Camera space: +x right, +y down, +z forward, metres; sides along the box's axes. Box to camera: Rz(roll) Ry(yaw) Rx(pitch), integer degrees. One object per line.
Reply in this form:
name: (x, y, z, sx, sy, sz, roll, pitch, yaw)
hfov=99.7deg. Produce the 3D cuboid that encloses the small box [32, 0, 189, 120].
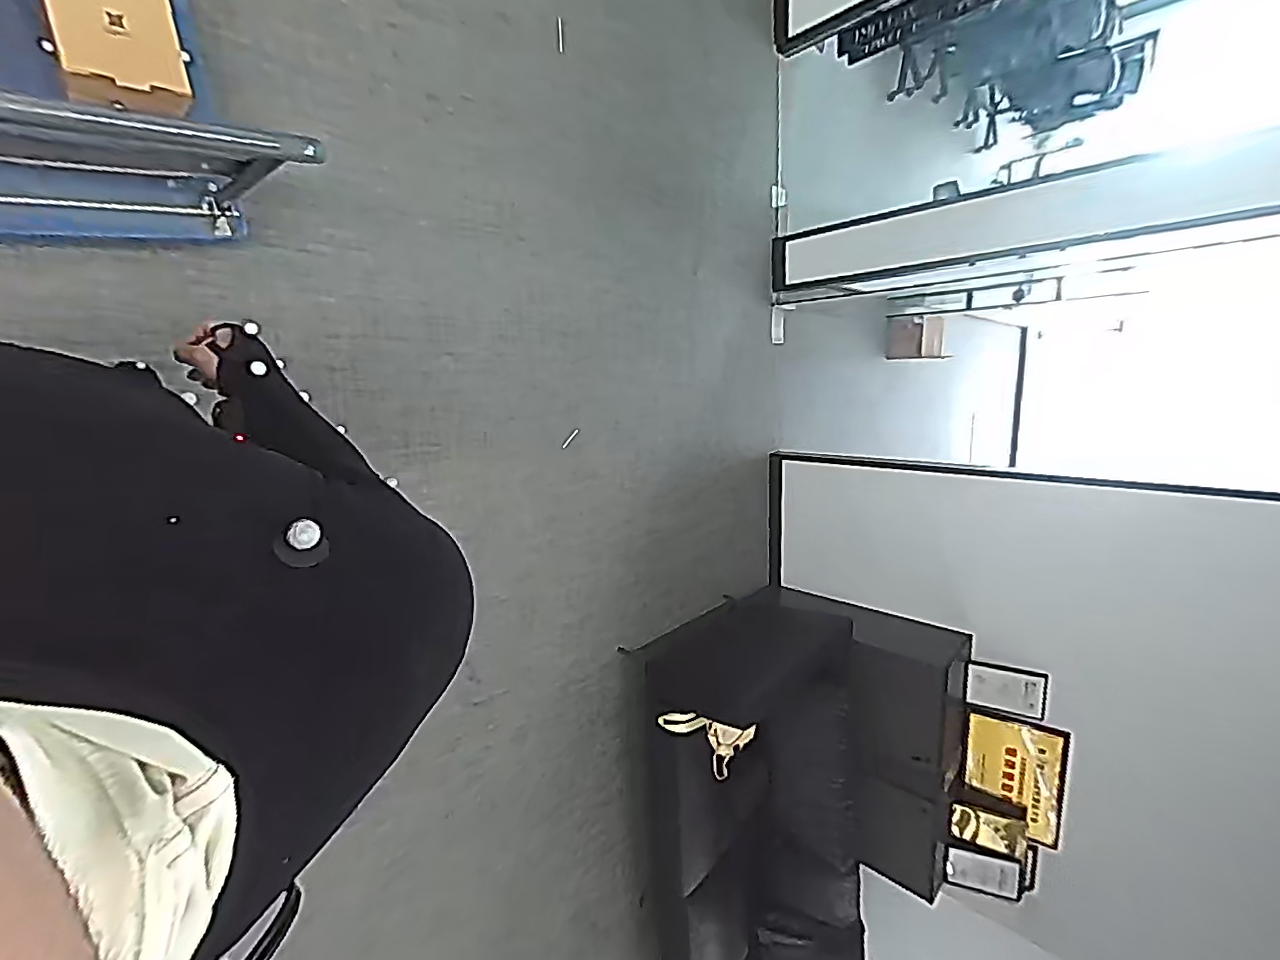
small box: (-0.934, -0.777, 0.953, 0.168, 0.176, 0.179, -19, 109, -43)
